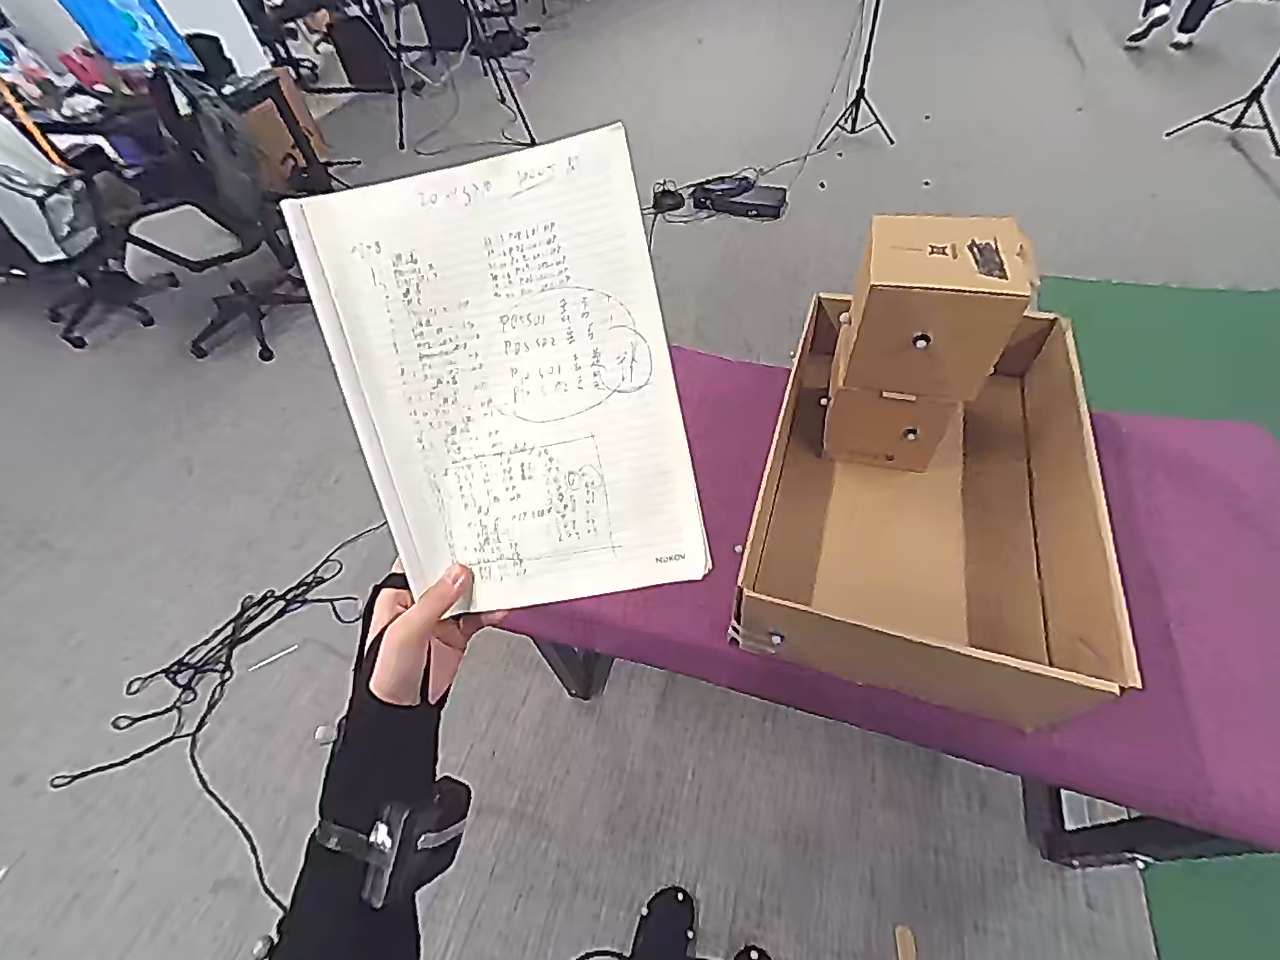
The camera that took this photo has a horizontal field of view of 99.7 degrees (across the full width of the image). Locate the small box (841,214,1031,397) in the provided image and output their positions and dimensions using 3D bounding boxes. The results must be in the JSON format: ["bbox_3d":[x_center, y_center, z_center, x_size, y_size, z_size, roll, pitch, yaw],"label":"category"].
[{"bbox_3d":[0.386,-0.232,0.734,0.179,0.176,0.168,10,55,14],"label":"small box"}]
